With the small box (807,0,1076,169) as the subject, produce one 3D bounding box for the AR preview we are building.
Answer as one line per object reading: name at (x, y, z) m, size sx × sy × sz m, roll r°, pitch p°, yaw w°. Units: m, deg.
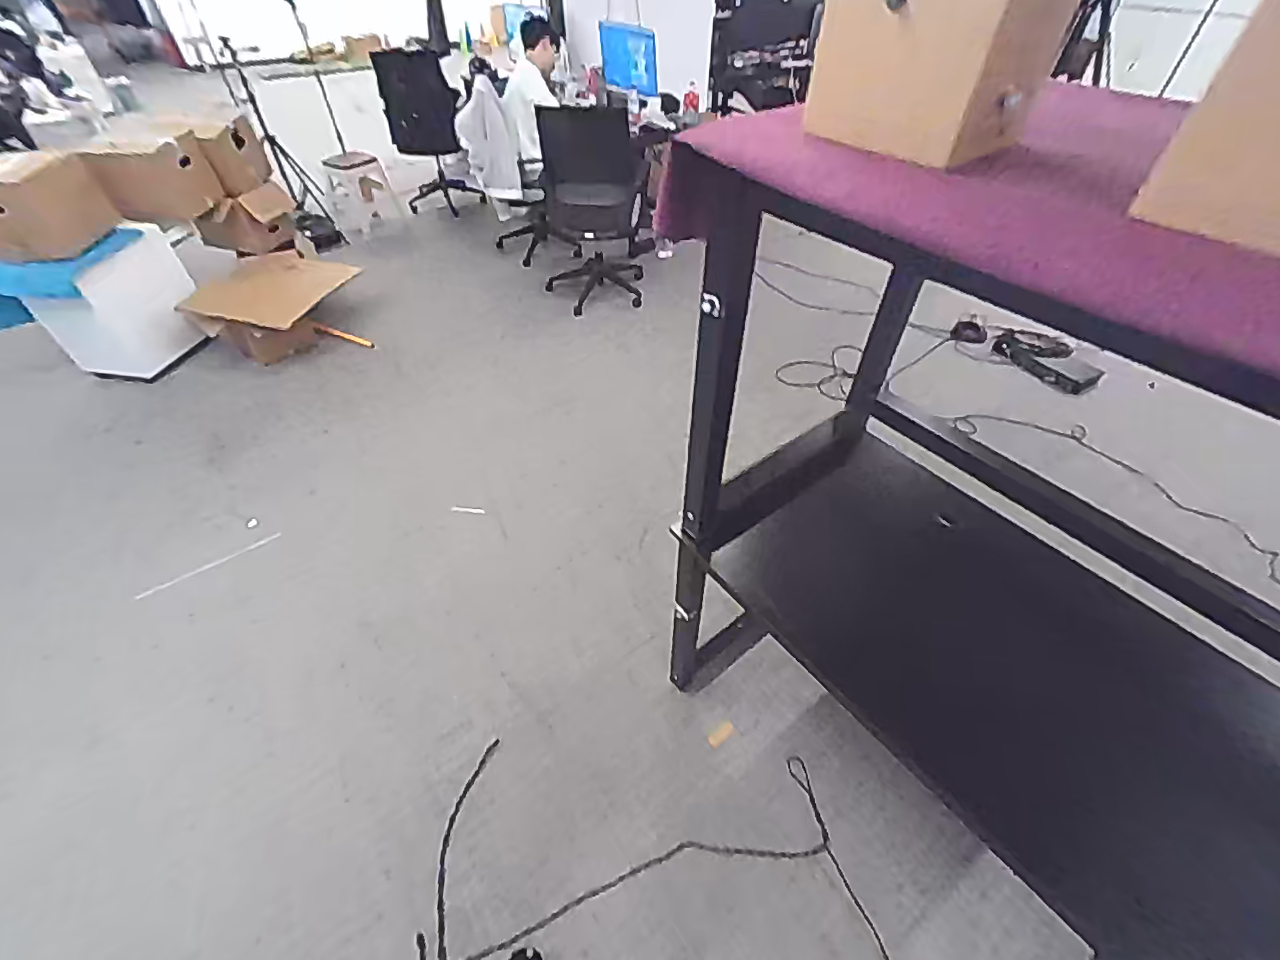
small box at (0.299, -0.438, 0.554) m, size 0.168 × 0.176 × 0.179 m, roll -31°, pitch 54°, yaw -27°
